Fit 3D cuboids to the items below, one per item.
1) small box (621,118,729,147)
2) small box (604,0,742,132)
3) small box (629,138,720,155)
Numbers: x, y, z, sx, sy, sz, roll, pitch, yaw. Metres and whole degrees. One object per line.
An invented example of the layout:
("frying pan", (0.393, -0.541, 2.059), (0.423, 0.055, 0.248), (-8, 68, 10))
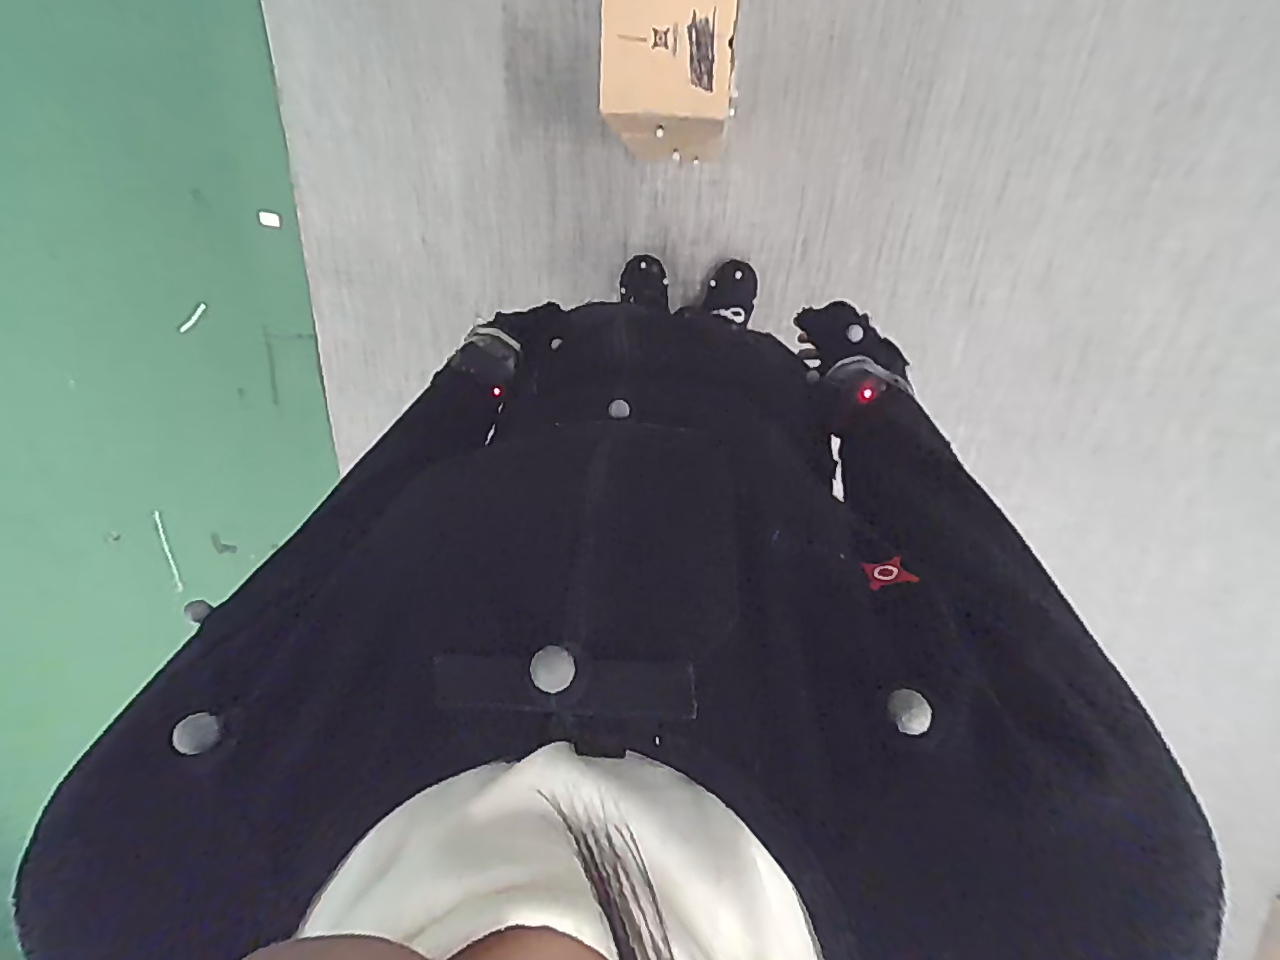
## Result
("small box", (0.067, -0.674, 0.918), (0.179, 0.176, 0.168), (5, 115, 4))
("small box", (0.046, -0.606, 0.769), (0.179, 0.176, 0.168), (3, 116, 4))
("small box", (0.079, -0.747, 1.064), (0.179, 0.176, 0.168), (6, 115, 6))
